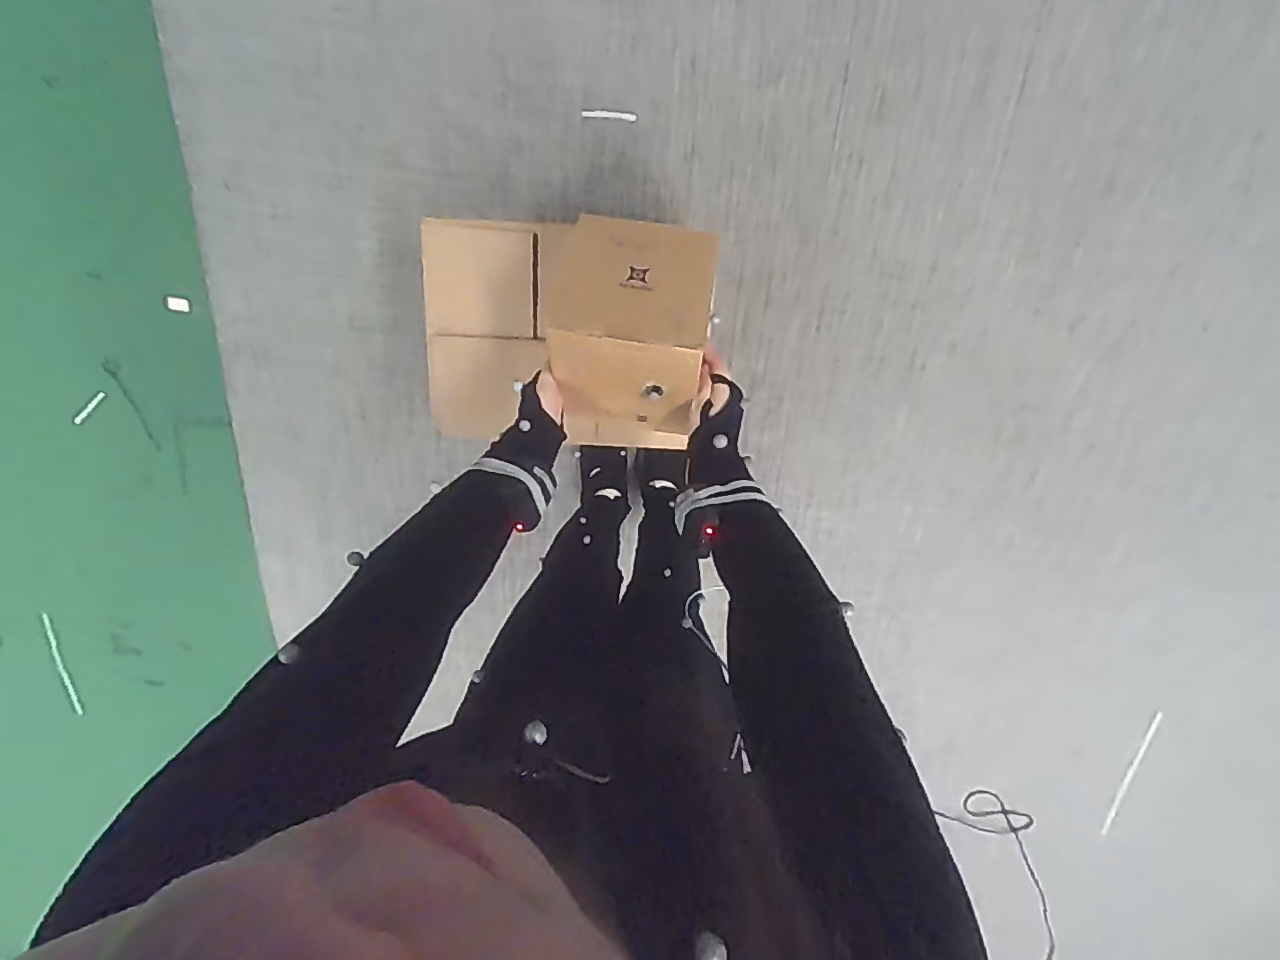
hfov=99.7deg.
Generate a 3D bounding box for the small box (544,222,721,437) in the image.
[{"bbox_3d":[-0.004,-0.172,0.648,0.168,0.179,0.176,9,153,3],"label":"small box"}]
